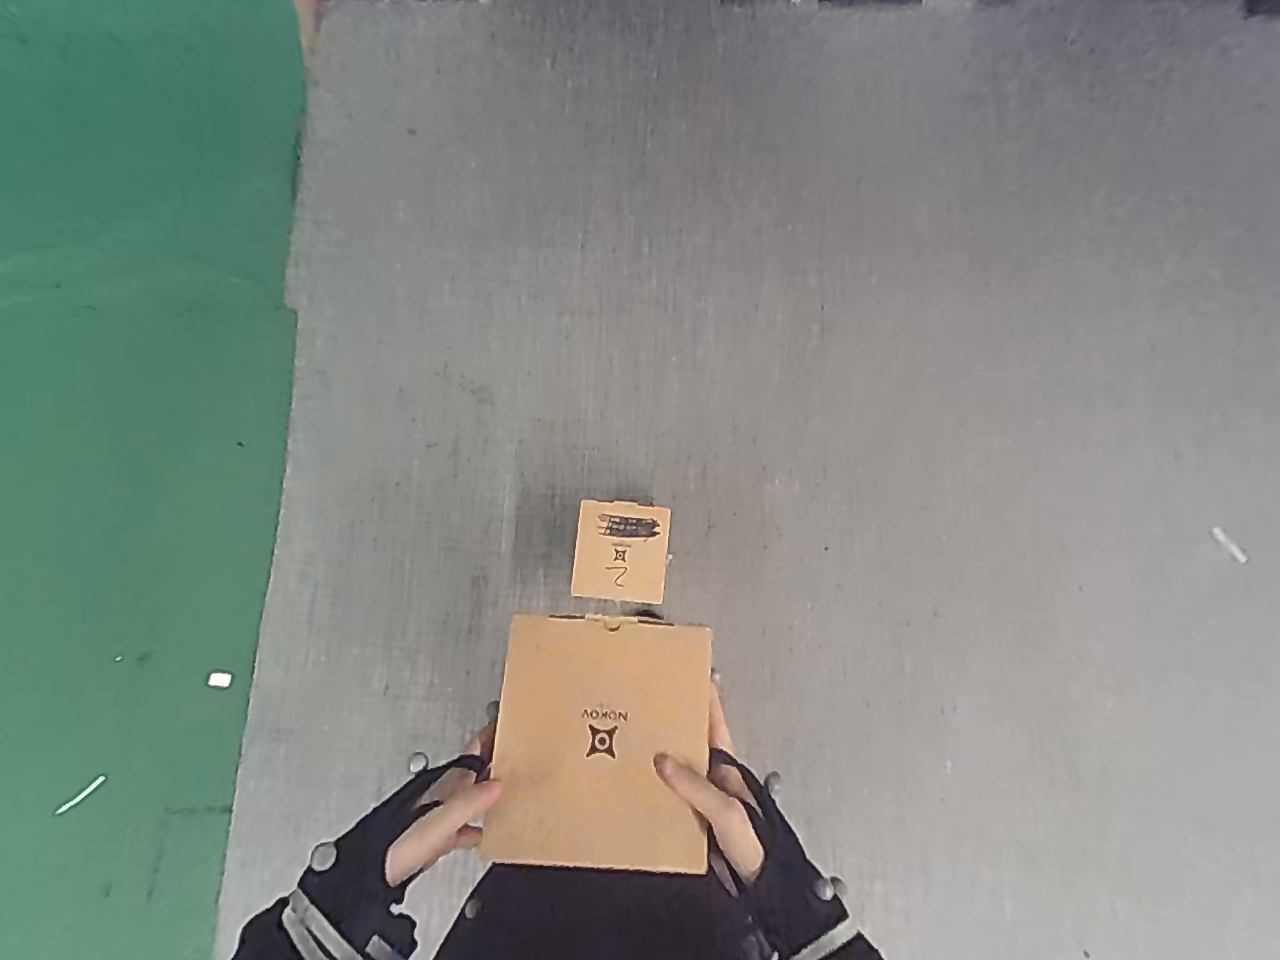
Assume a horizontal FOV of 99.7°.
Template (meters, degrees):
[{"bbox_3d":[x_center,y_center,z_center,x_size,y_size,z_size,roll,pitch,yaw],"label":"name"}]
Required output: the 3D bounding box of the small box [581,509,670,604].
[{"bbox_3d":[-0.028,0.169,1.204,0.168,0.176,0.179,8,82,1],"label":"small box"}]
